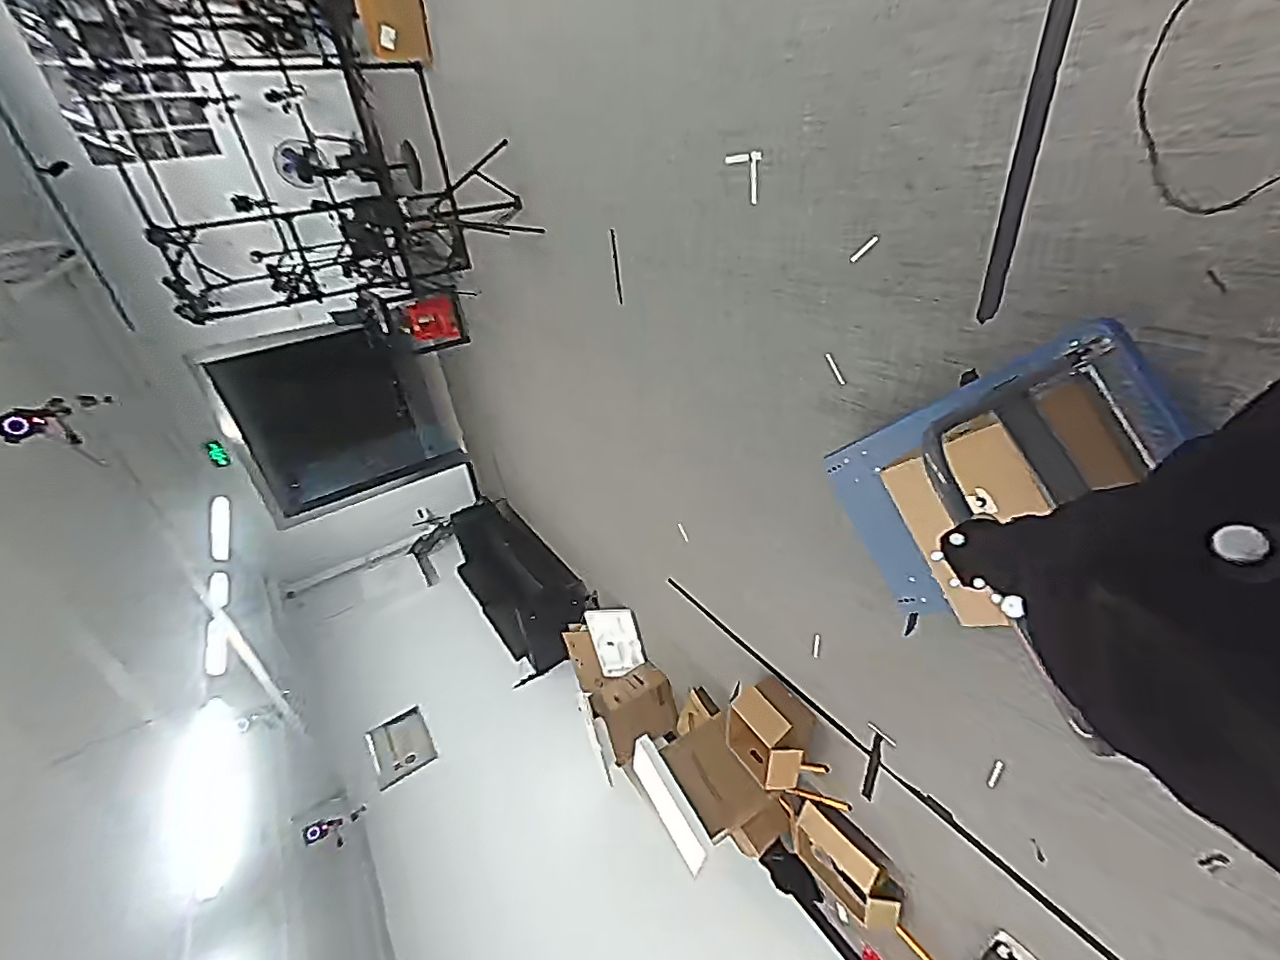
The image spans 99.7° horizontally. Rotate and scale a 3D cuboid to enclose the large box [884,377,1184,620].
[{"bbox_3d":[0.841,0.050,1.184,0.408,0.320,0.320,64,154,7],"label":"large box"}]
